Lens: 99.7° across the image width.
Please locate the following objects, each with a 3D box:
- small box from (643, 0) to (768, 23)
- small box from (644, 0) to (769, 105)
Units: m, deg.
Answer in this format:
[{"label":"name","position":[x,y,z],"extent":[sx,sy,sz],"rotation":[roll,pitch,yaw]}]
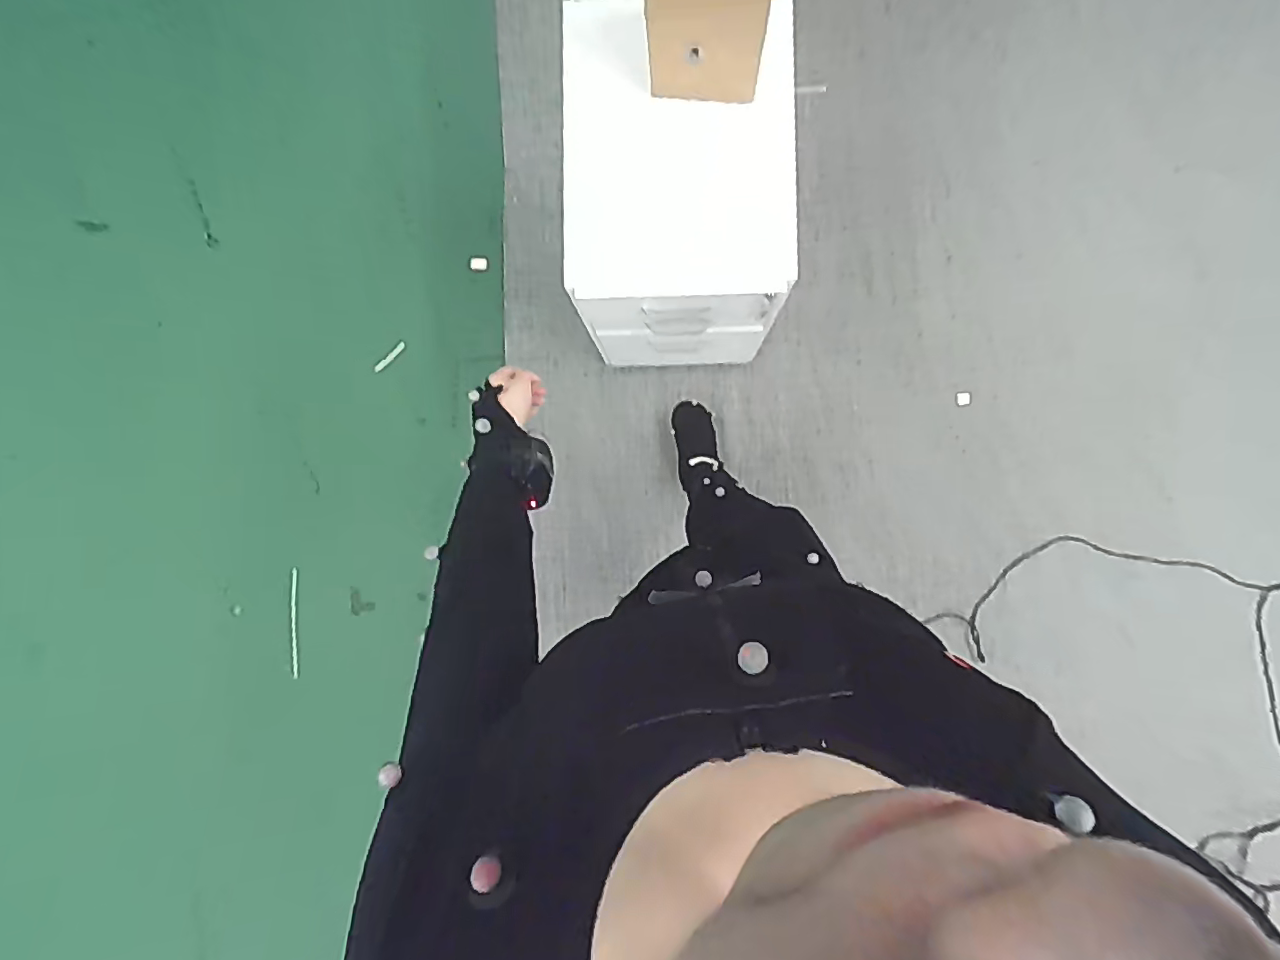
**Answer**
[{"label":"small box","position":[0.091,-0.724,0.679],"extent":[0.179,0.176,0.168],"rotation":[6,89,4]},{"label":"small box","position":[0.108,-0.722,0.841],"extent":[0.179,0.176,0.168],"rotation":[7,89,5]}]
